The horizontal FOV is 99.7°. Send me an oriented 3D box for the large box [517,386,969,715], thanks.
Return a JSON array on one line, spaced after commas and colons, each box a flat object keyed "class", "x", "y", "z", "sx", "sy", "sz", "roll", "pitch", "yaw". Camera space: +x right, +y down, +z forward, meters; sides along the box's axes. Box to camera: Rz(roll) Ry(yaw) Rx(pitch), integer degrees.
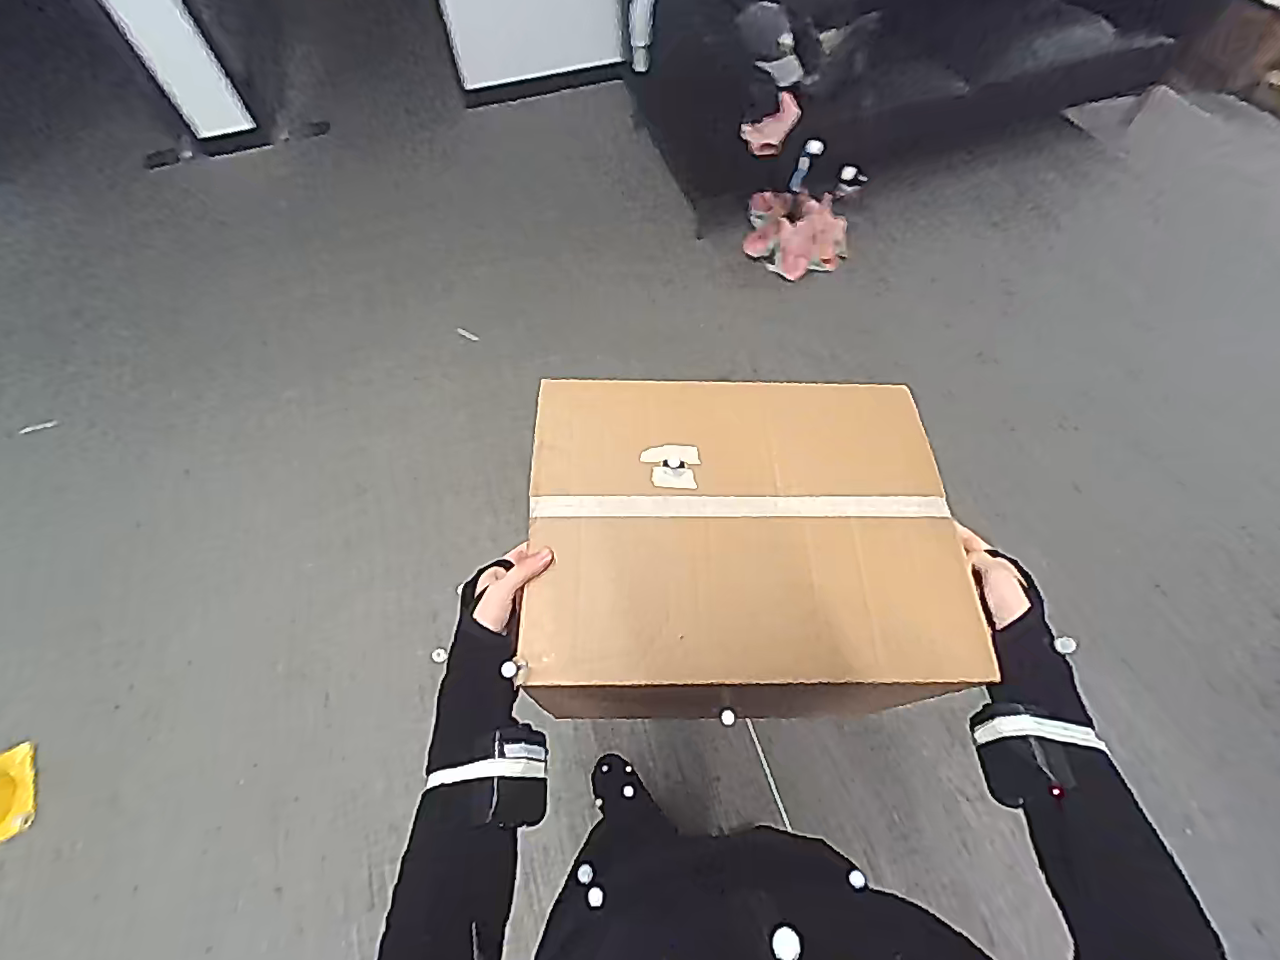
[{"class": "large box", "x": 0.085, "y": 0.105, "z": 0.665, "sx": 0.408, "sy": 0.320, "sz": 0.320, "roll": -1, "pitch": 61, "yaw": -2}]
